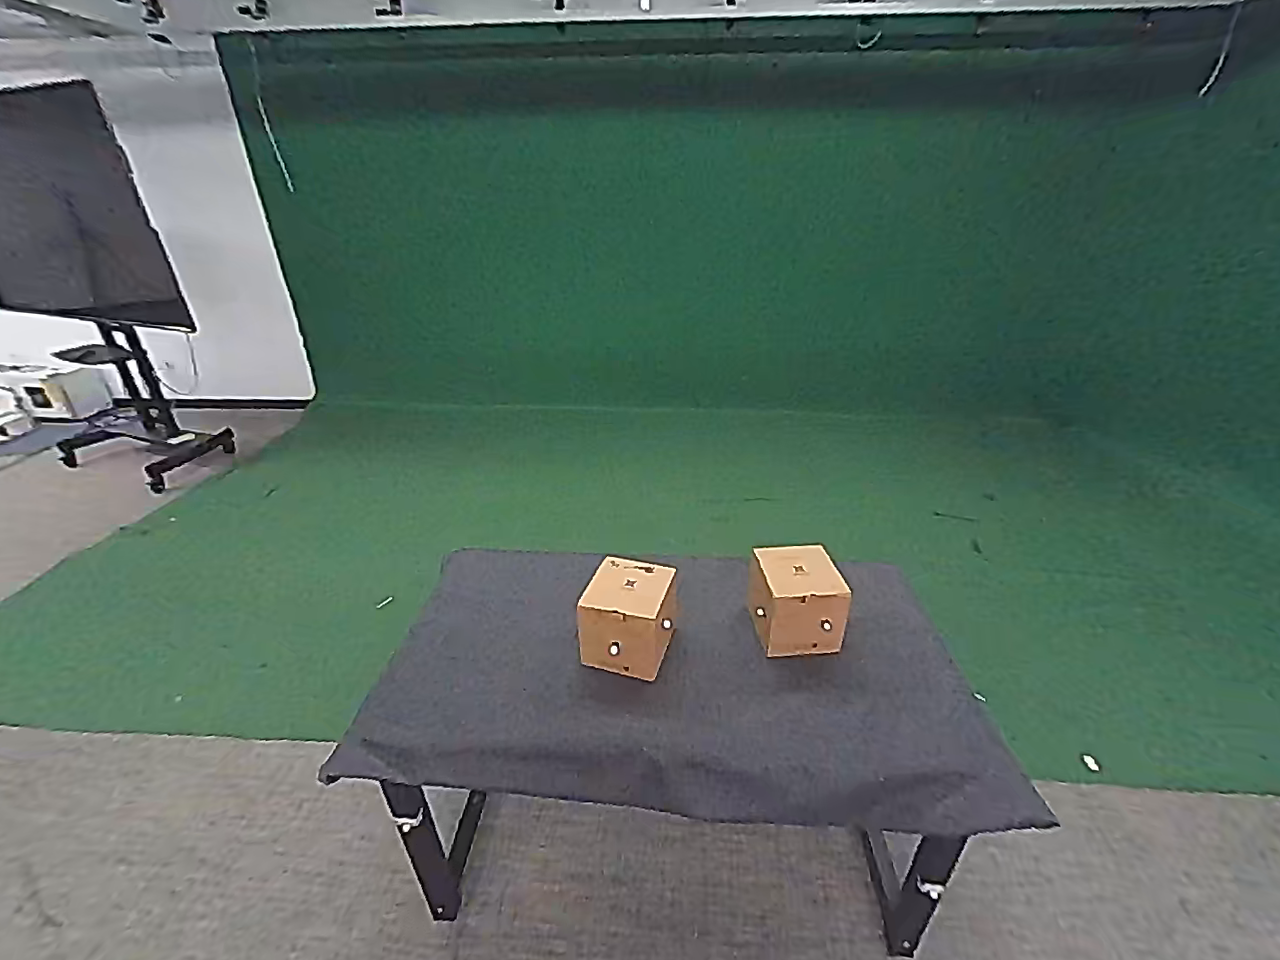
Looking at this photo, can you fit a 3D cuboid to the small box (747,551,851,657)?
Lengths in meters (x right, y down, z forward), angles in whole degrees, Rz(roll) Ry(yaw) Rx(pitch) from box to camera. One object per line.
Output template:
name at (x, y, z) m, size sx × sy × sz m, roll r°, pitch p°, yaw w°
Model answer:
small box at (0.347, 0.279, 1.211) m, size 0.168 × 0.176 × 0.179 m, roll -1°, pitch 27°, yaw -5°

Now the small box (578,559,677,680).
small box at (-0.021, 0.300, 1.168) m, size 0.168 × 0.176 × 0.179 m, roll 9°, pitch 29°, yaw 15°
